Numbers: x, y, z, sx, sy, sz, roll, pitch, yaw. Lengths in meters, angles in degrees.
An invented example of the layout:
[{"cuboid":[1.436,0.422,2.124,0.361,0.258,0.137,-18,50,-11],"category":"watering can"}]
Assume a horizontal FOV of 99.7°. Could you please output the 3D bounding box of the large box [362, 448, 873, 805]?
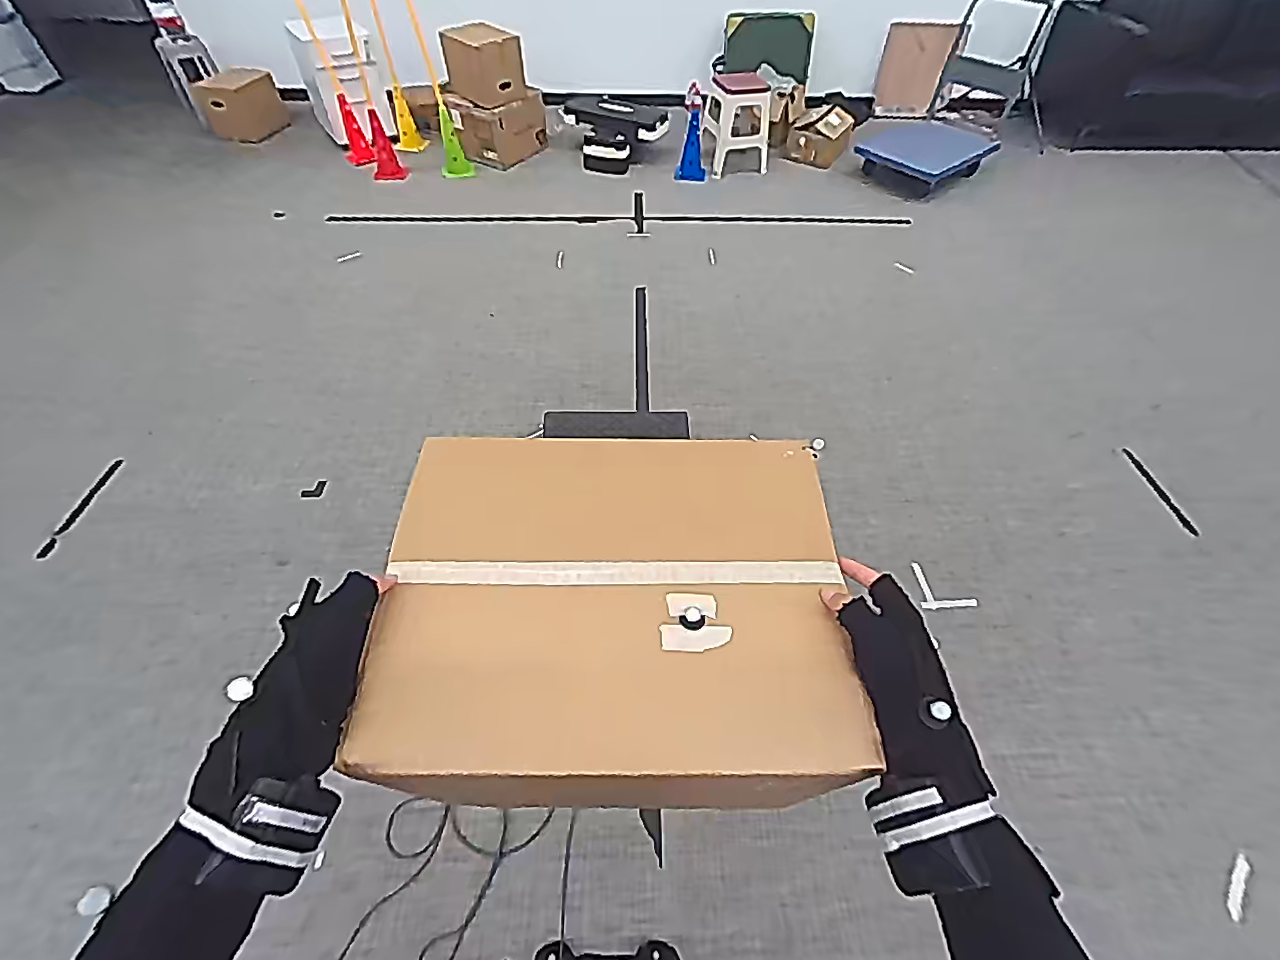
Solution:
[{"cuboid":[-0.021,0.177,0.620,0.408,0.320,0.320,1,55,-1],"category":"large box"}]
